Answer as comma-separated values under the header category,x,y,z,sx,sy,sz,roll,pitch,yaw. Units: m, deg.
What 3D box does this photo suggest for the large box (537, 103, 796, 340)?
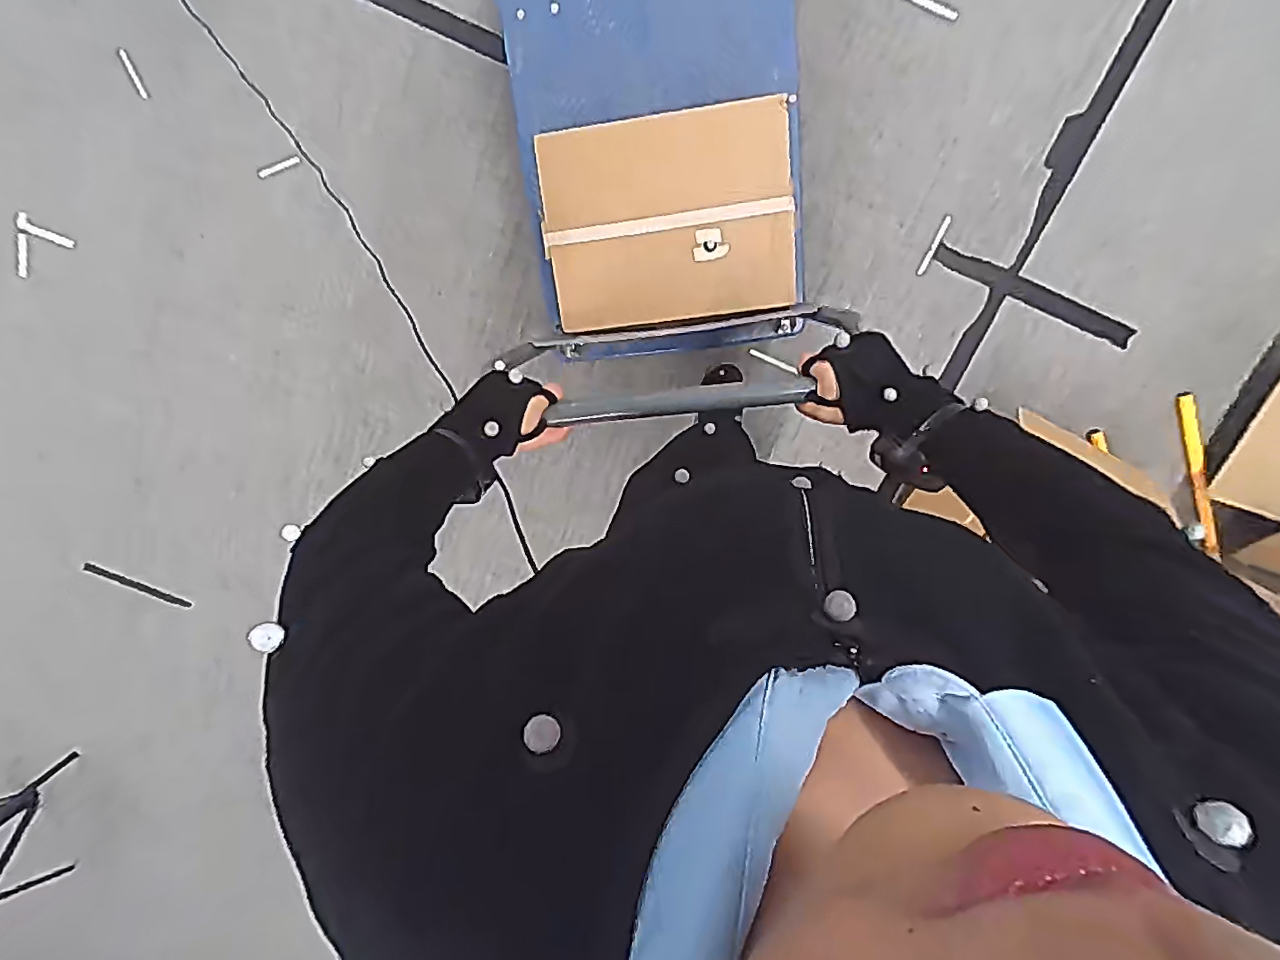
category,x,y,z,sx,sy,sz,roll,pitch,yaw
large box,0.057,-0.454,1.033,0.408,0.320,0.320,-5,106,6
